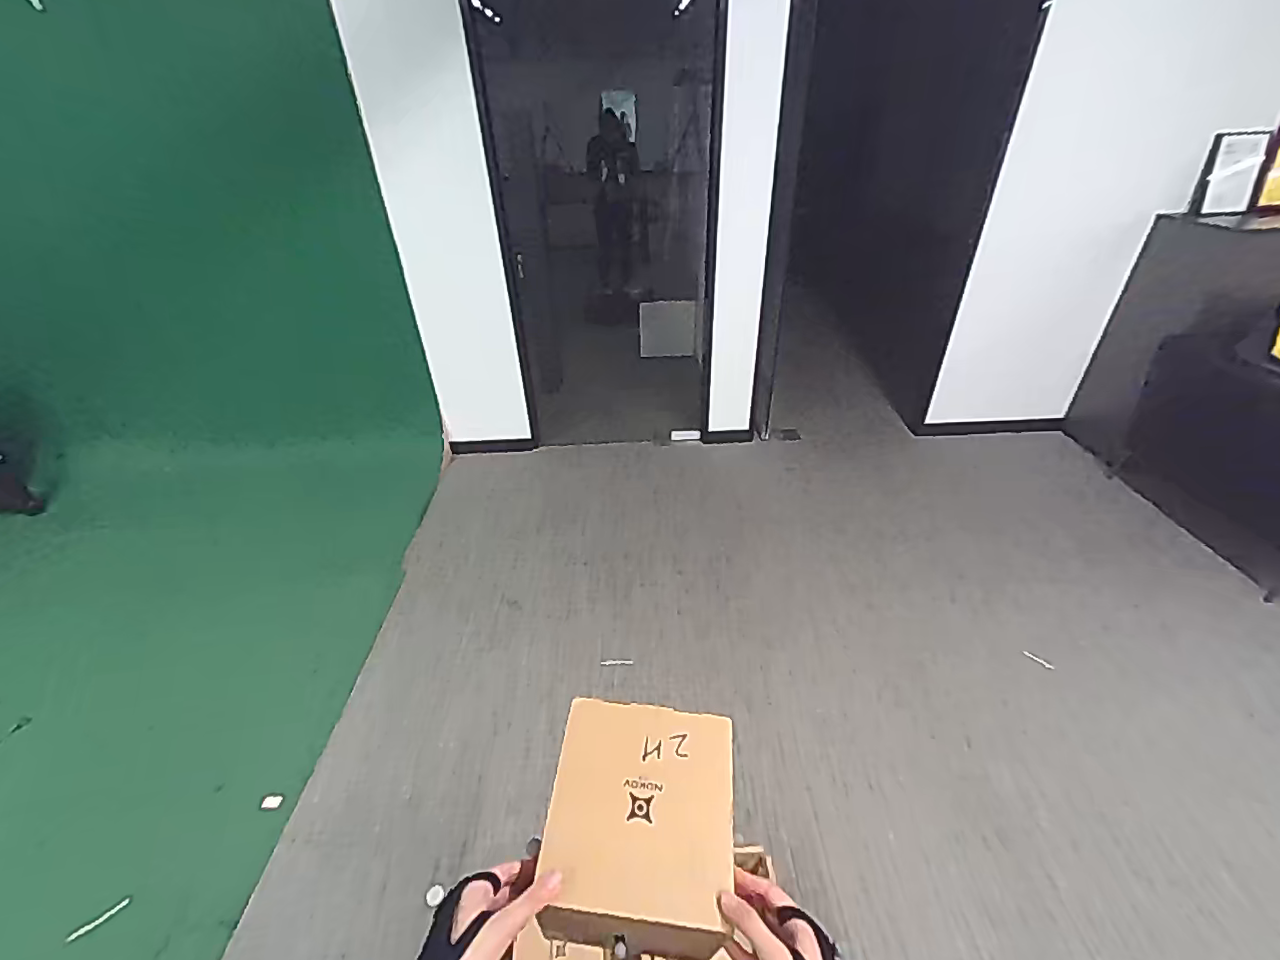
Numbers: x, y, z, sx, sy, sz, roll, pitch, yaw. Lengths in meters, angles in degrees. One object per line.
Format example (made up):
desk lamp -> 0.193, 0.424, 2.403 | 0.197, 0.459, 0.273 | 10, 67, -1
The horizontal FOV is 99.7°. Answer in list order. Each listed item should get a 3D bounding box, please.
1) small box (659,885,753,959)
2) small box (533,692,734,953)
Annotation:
small box -> 0.129, 0.969, 1.102 | 0.179, 0.176, 0.168 | -8, 36, -6
small box -> 0.001, 0.346, 0.546 | 0.168, 0.176, 0.179 | 7, 42, 4
